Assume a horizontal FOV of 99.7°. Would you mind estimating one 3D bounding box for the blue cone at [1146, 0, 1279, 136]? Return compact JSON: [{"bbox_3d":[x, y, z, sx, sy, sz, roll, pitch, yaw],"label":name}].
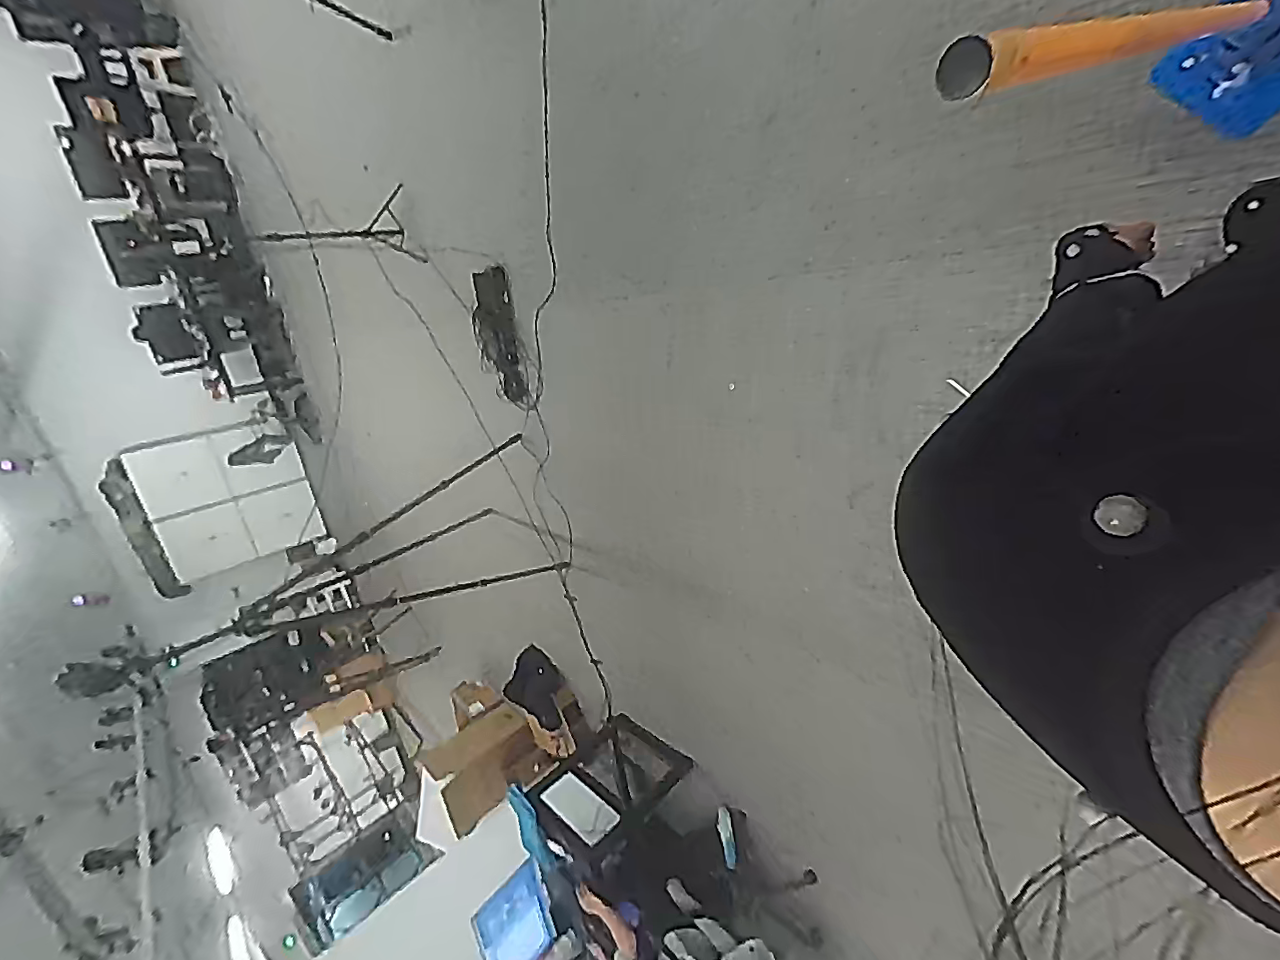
[{"bbox_3d":[0.874,-0.639,0.786,0.192,0.380,0.193,51,141,14],"label":"blue cone"}]
